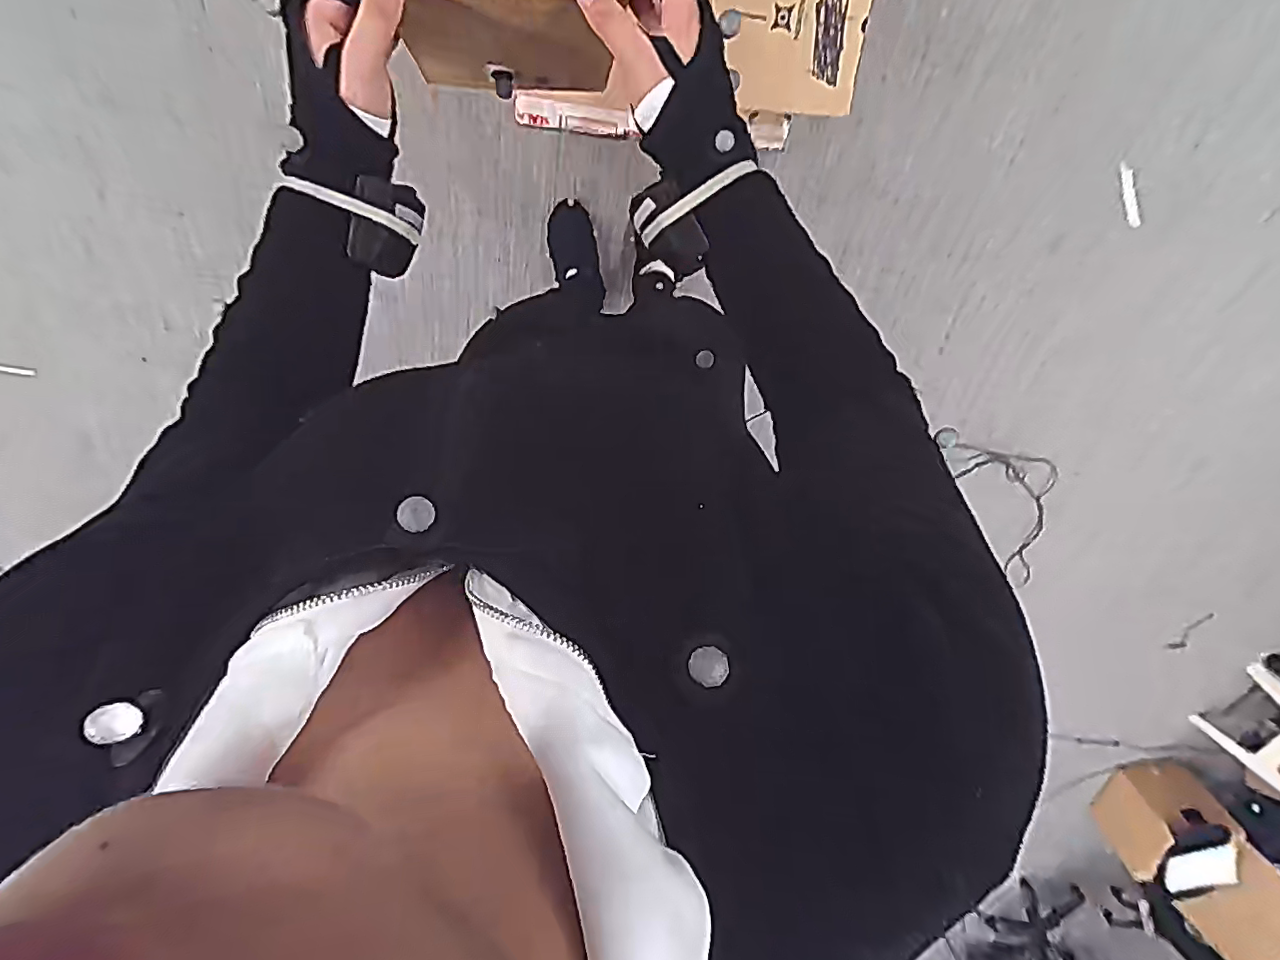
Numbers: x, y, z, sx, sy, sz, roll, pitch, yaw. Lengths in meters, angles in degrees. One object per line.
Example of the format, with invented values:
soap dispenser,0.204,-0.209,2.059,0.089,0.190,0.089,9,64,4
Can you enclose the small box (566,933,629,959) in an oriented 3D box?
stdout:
small box,-0.129,1.479,1.607,0.179,0.176,0.168,8,122,-8

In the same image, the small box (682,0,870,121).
small box,0.153,-0.539,0.649,0.179,0.176,0.168,1,124,-4
